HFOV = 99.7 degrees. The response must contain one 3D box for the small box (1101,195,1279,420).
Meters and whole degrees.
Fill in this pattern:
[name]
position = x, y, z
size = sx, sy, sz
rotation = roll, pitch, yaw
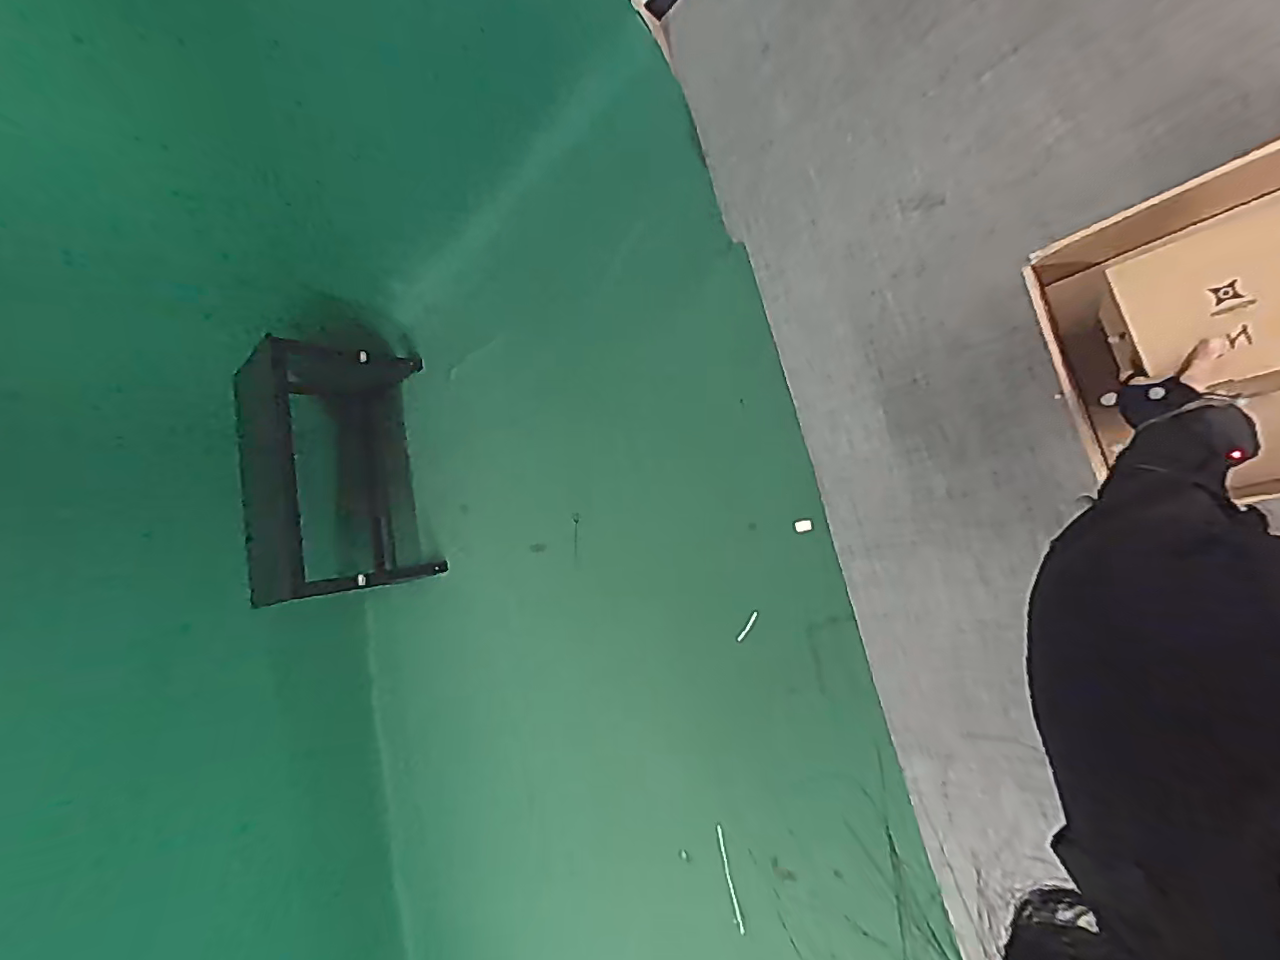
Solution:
[small box]
position = 0.684, -0.190, 0.648
size = 0.168, 0.176, 0.179
rotation = -20, 72, 36
